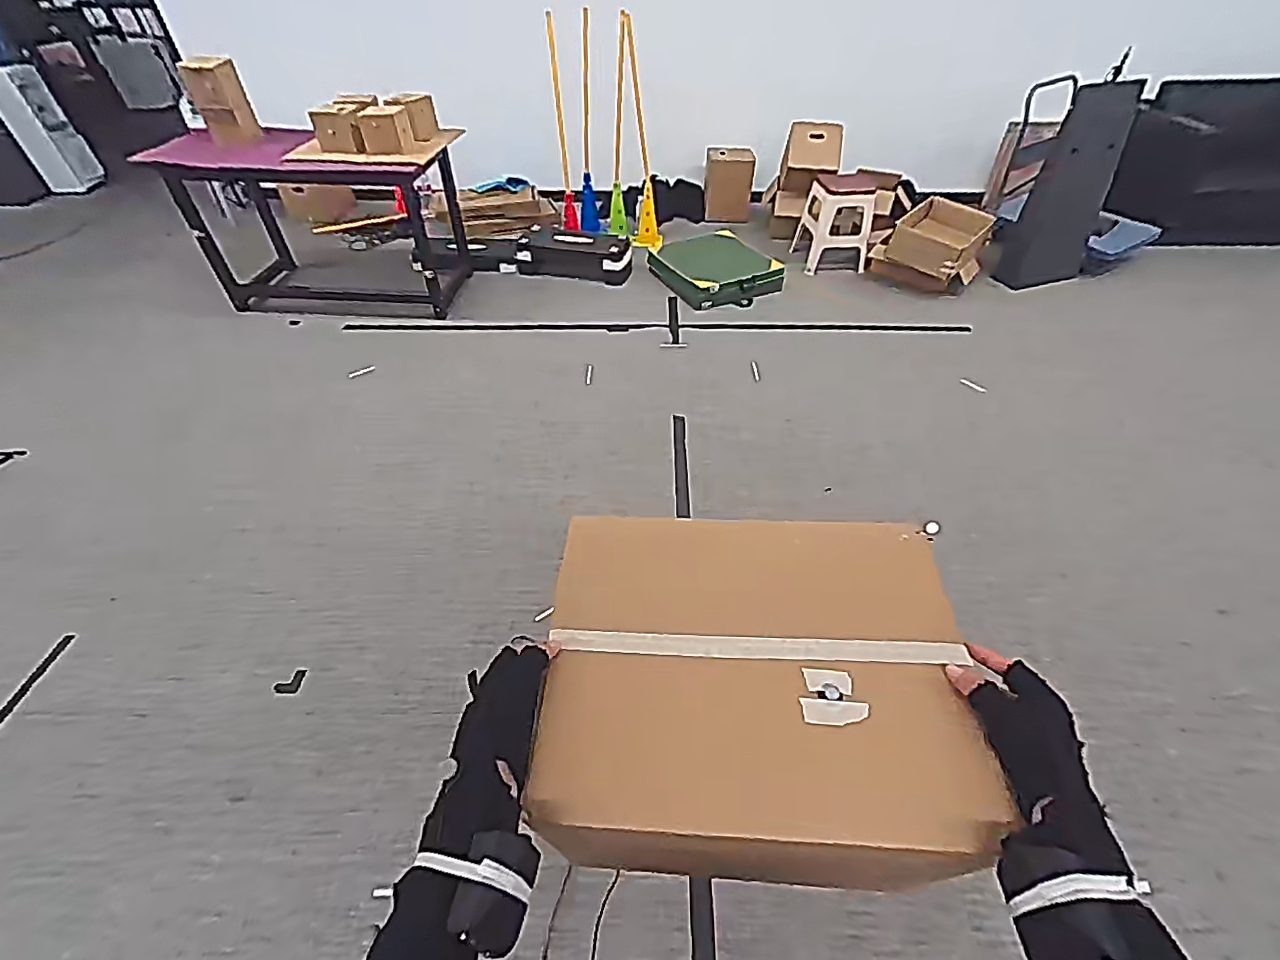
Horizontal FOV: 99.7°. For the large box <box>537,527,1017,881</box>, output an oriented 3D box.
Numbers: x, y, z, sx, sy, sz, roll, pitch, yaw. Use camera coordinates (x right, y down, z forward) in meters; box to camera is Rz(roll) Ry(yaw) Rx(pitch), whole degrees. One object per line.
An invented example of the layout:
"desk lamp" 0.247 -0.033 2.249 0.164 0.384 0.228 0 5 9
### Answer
"large box" 0.121 0.272 0.654 0.408 0.320 0.320 1 50 4
